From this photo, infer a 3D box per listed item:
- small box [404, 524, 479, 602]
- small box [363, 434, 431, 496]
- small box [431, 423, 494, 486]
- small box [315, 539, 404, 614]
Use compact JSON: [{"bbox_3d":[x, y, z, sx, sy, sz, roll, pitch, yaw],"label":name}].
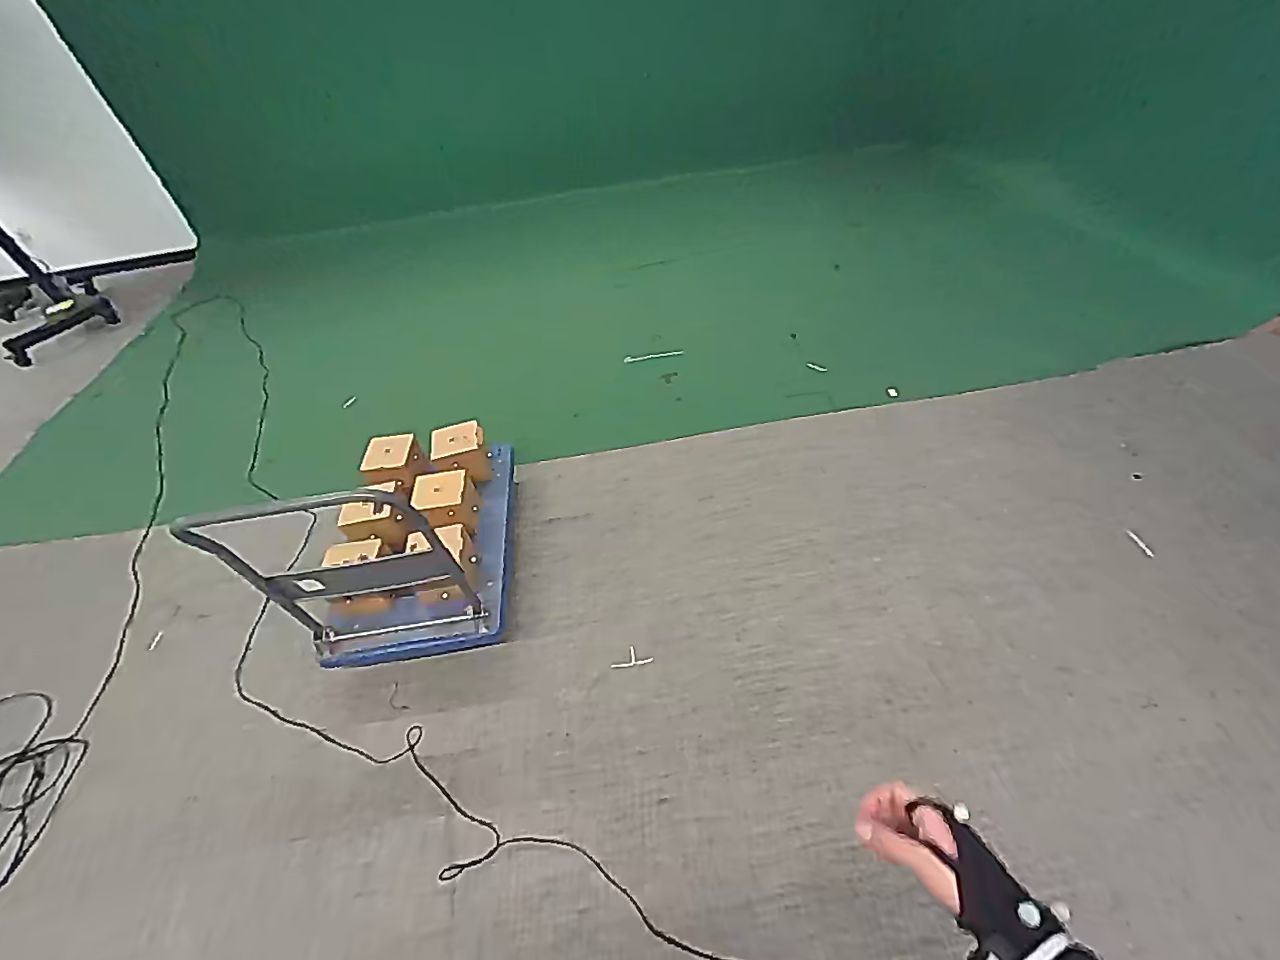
[{"bbox_3d":[-0.625,0.268,1.727,0.179,0.176,0.168,-10,47,-2],"label":"small box"},{"bbox_3d":[-0.921,-0.051,2.066,0.168,0.176,0.179,-6,47,1],"label":"small box"},{"bbox_3d":[-0.672,-0.094,2.064,0.179,0.176,0.168,-8,50,-1],"label":"small box"},{"bbox_3d":[-0.885,0.310,1.726,0.179,0.176,0.168,-8,46,2],"label":"small box"}]
